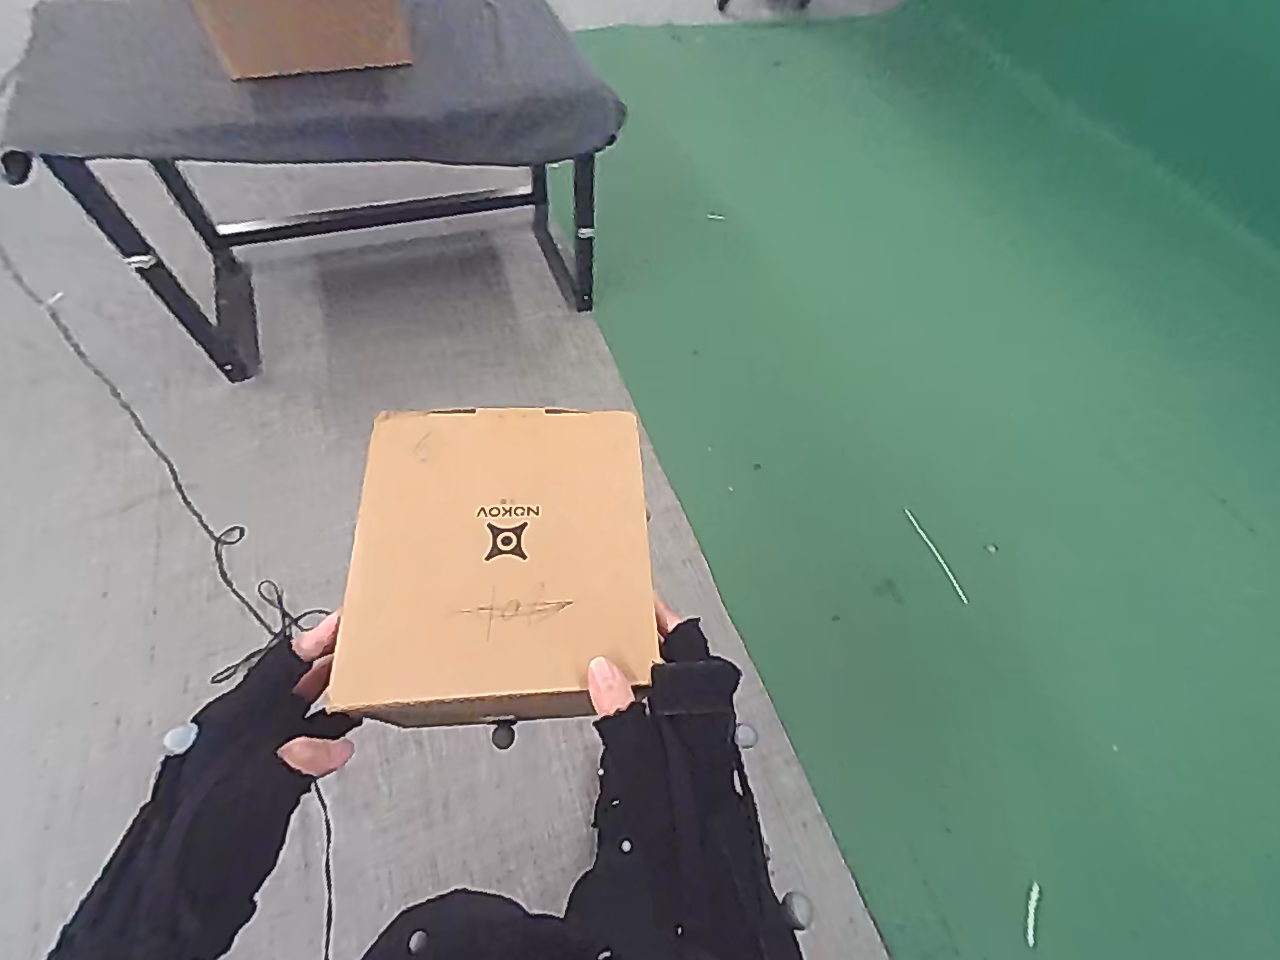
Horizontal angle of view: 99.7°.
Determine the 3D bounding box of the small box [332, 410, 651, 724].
[{"bbox_3d":[-0.090,0.068,0.390,0.168,0.176,0.179,-1,62,-8],"label":"small box"}]
